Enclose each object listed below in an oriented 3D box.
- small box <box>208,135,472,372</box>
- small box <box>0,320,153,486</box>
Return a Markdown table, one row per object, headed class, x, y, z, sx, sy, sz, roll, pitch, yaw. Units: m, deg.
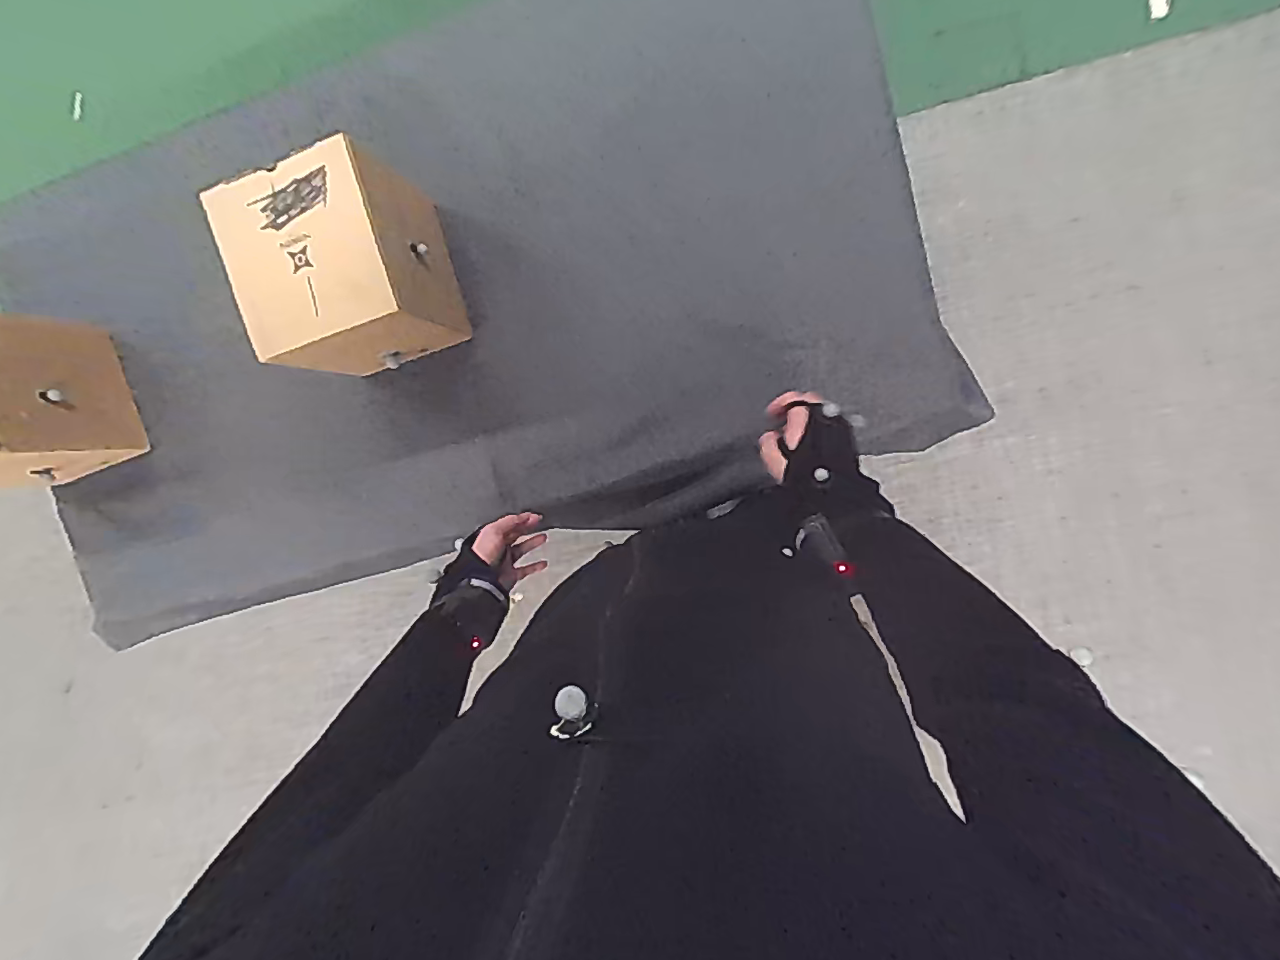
| class | x | y | z | sx | sy | sz | roll | pitch | yaw |
| --- | --- | --- | --- | --- | --- | --- | --- | --- | --- |
| small box | -0.318 | -0.233 | 0.608 | 0.168 | 0.176 | 0.179 | -16 | 94 | 10 |
| small box | -0.791 | -0.095 | 0.693 | 0.168 | 0.176 | 0.179 | -18 | 93 | 9 |
